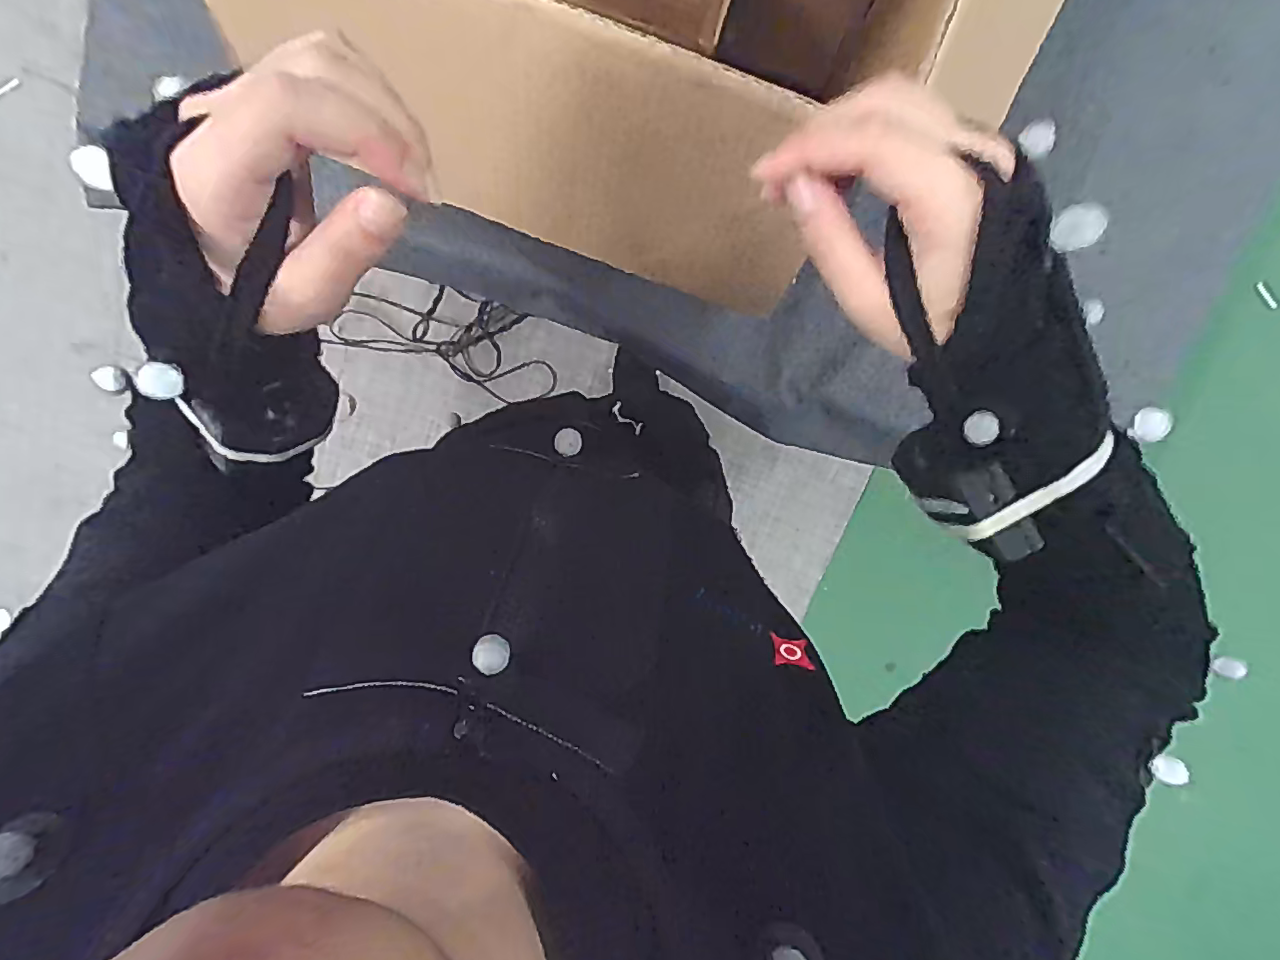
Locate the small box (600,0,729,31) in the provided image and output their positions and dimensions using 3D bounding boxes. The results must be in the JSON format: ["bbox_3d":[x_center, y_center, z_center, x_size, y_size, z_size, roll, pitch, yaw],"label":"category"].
[{"bbox_3d":[0.001,-0.389,0.282,0.179,0.176,0.168,19,101,-4],"label":"small box"}]
